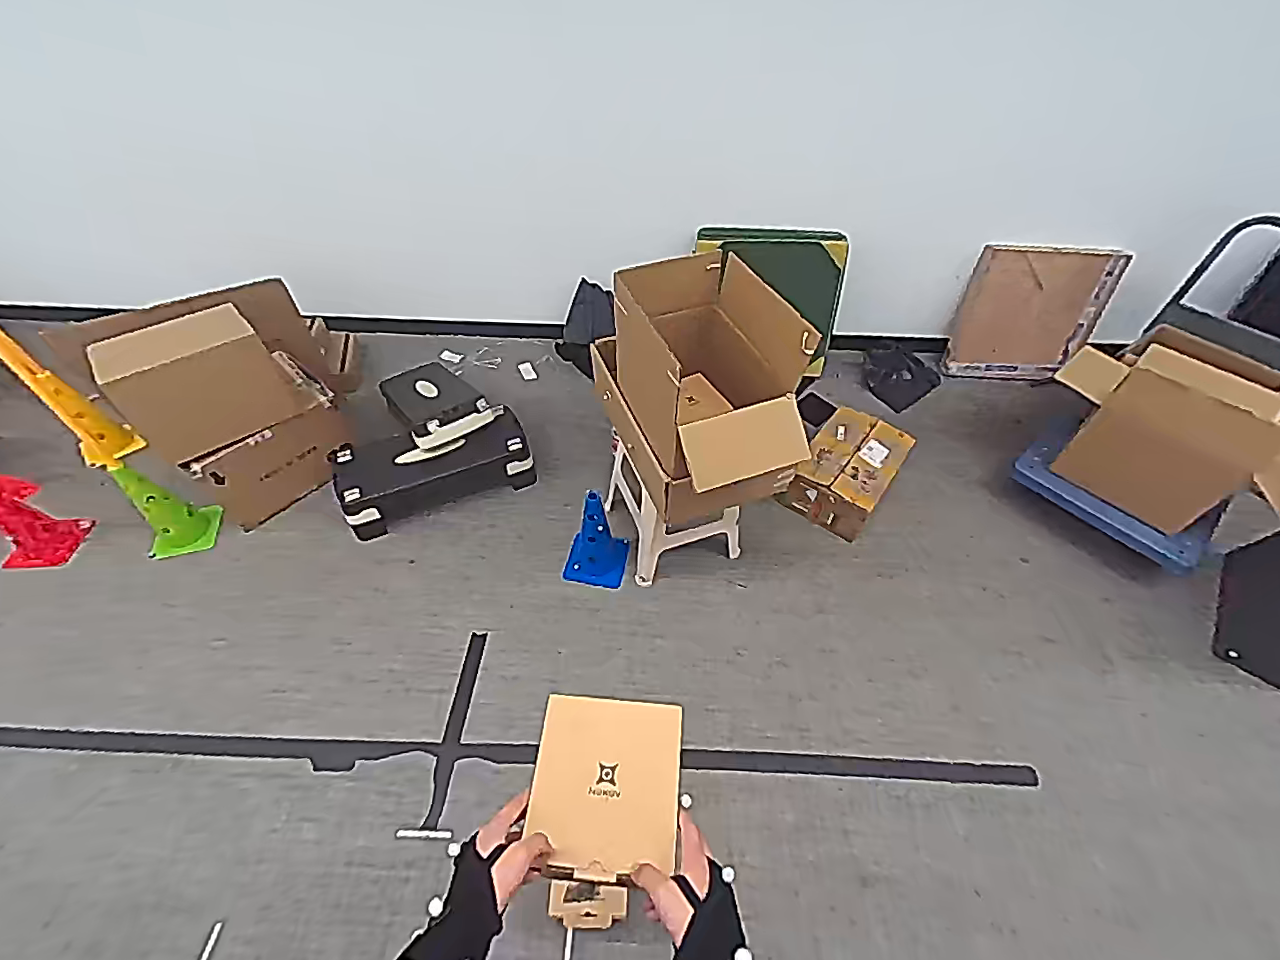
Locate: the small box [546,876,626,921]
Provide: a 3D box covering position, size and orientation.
[{"bbox_3d":[-0.114,0.900,1.244,0.168,0.176,0.179,2,49,-1],"label":"small box"}]

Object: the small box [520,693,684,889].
[{"bbox_3d":[-0.038,0.385,0.667,0.168,0.176,0.179,4,52,3],"label":"small box"}]
